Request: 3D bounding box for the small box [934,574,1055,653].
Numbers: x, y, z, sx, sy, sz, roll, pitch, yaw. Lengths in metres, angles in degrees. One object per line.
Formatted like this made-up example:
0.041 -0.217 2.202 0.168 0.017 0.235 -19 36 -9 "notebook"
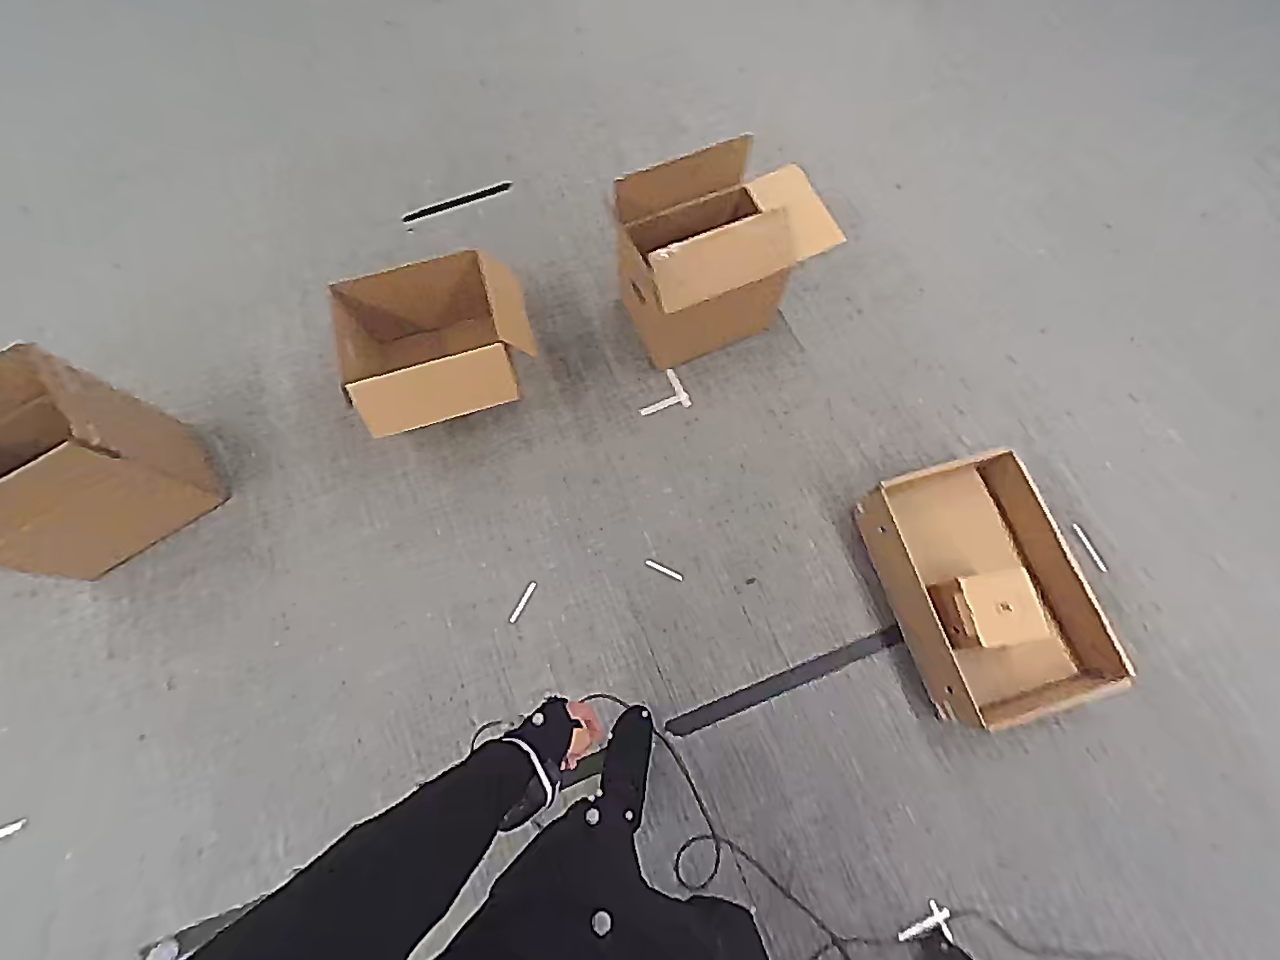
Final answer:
0.863 0.337 1.344 0.179 0.176 0.168 -7 72 -3 "small box"
